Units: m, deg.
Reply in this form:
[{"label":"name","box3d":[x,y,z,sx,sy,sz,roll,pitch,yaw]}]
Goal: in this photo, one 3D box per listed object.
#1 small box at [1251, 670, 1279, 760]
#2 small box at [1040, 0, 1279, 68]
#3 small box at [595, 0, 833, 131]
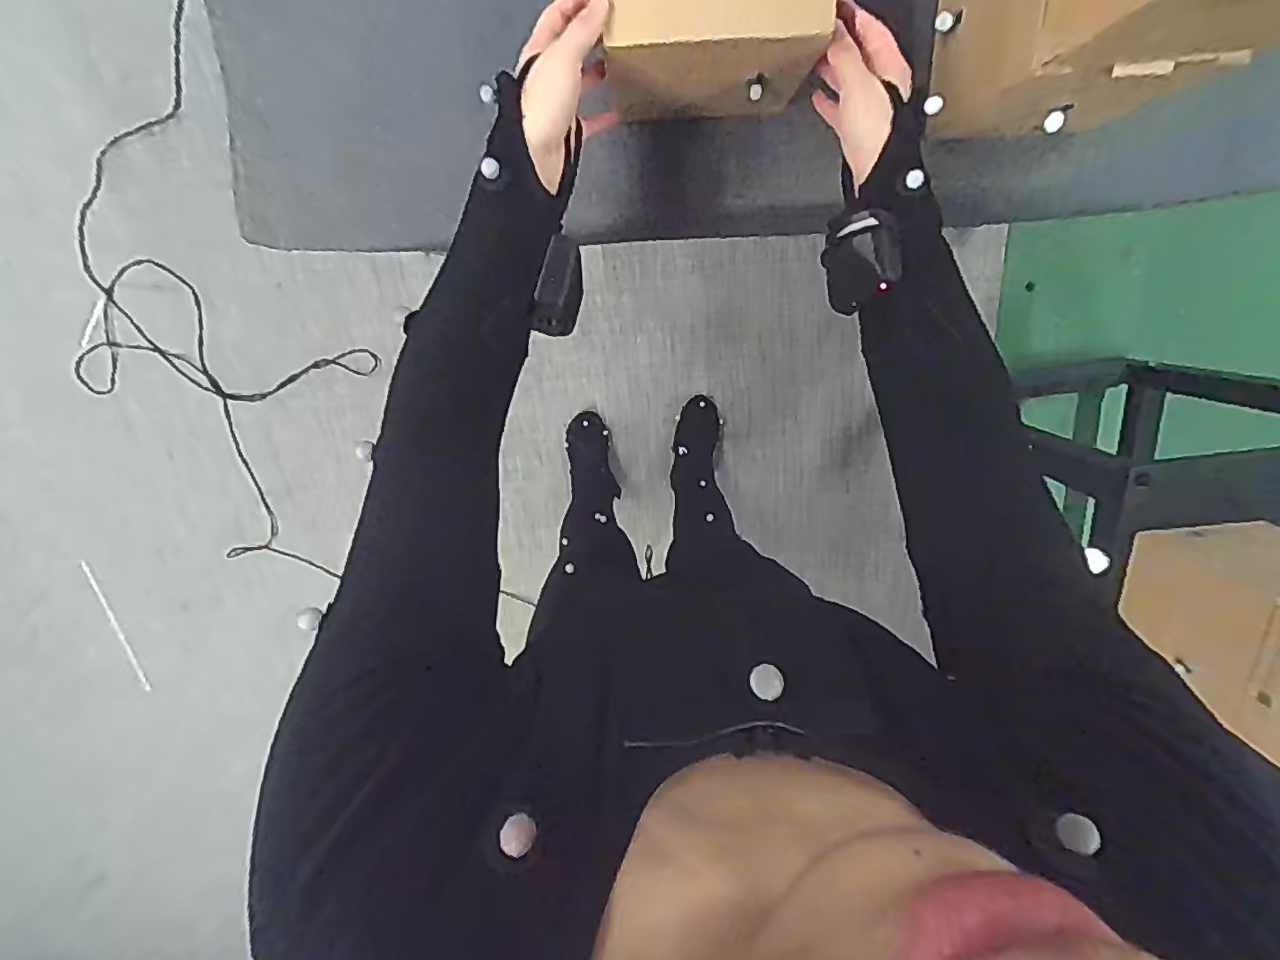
[{"label":"small box","box3d":[0.739,0.231,0.487,0.179,0.176,0.168,-3,110,1]},{"label":"small box","box3d":[0.373,-0.360,0.296,0.179,0.176,0.168,-4,107,3]},{"label":"small box","box3d":[0.053,-0.419,0.456,0.179,0.176,0.168,-3,106,3]}]
